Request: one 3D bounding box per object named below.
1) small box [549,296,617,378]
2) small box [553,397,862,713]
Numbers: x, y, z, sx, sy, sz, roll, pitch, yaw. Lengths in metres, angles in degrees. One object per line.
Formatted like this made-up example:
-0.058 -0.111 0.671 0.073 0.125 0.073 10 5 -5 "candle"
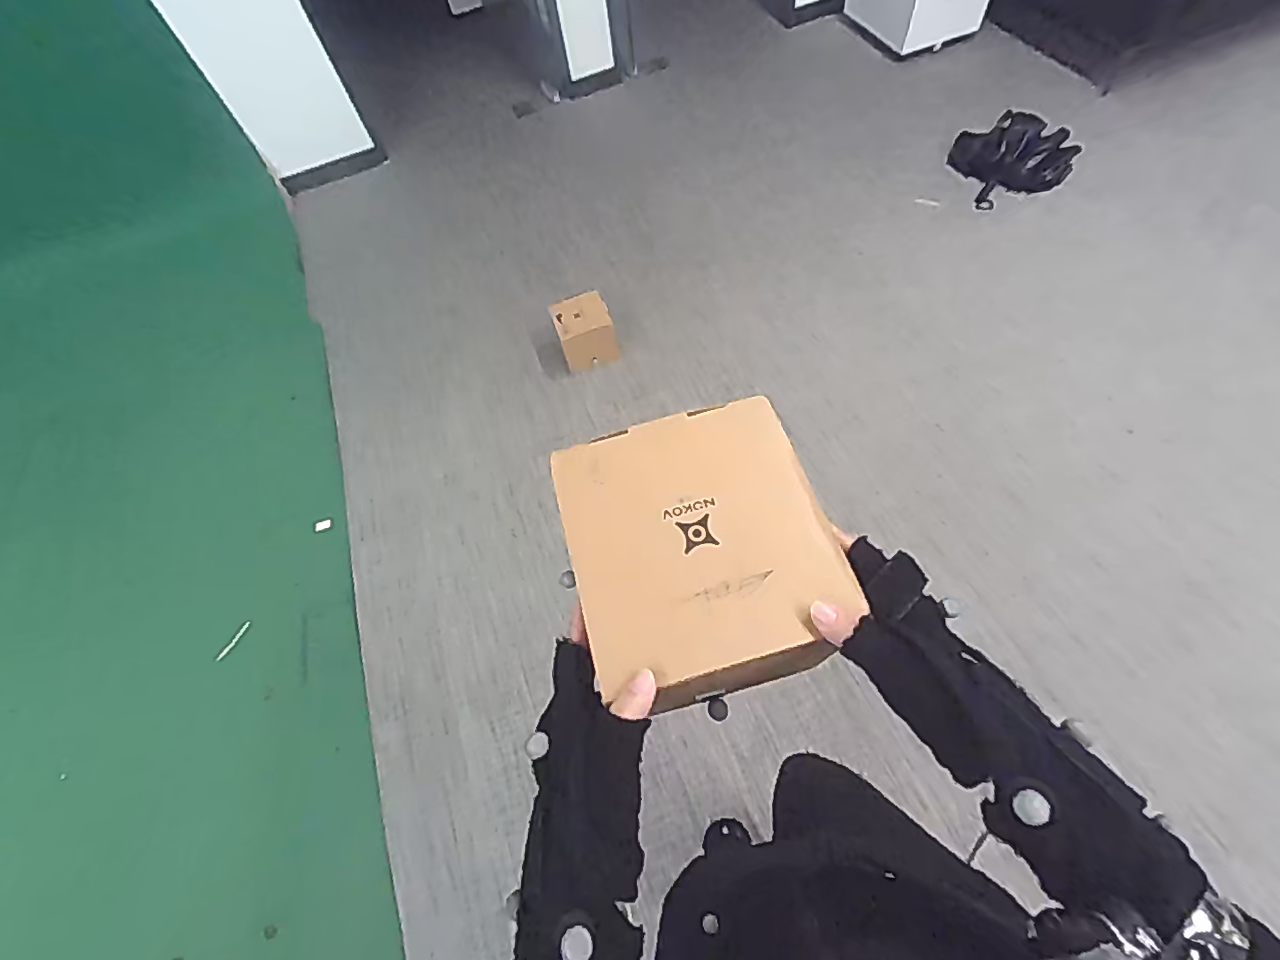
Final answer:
-0.183 -0.472 1.798 0.179 0.176 0.168 -20 60 -5 "small box"
0.040 0.067 0.427 0.168 0.176 0.179 -15 62 -3 "small box"
